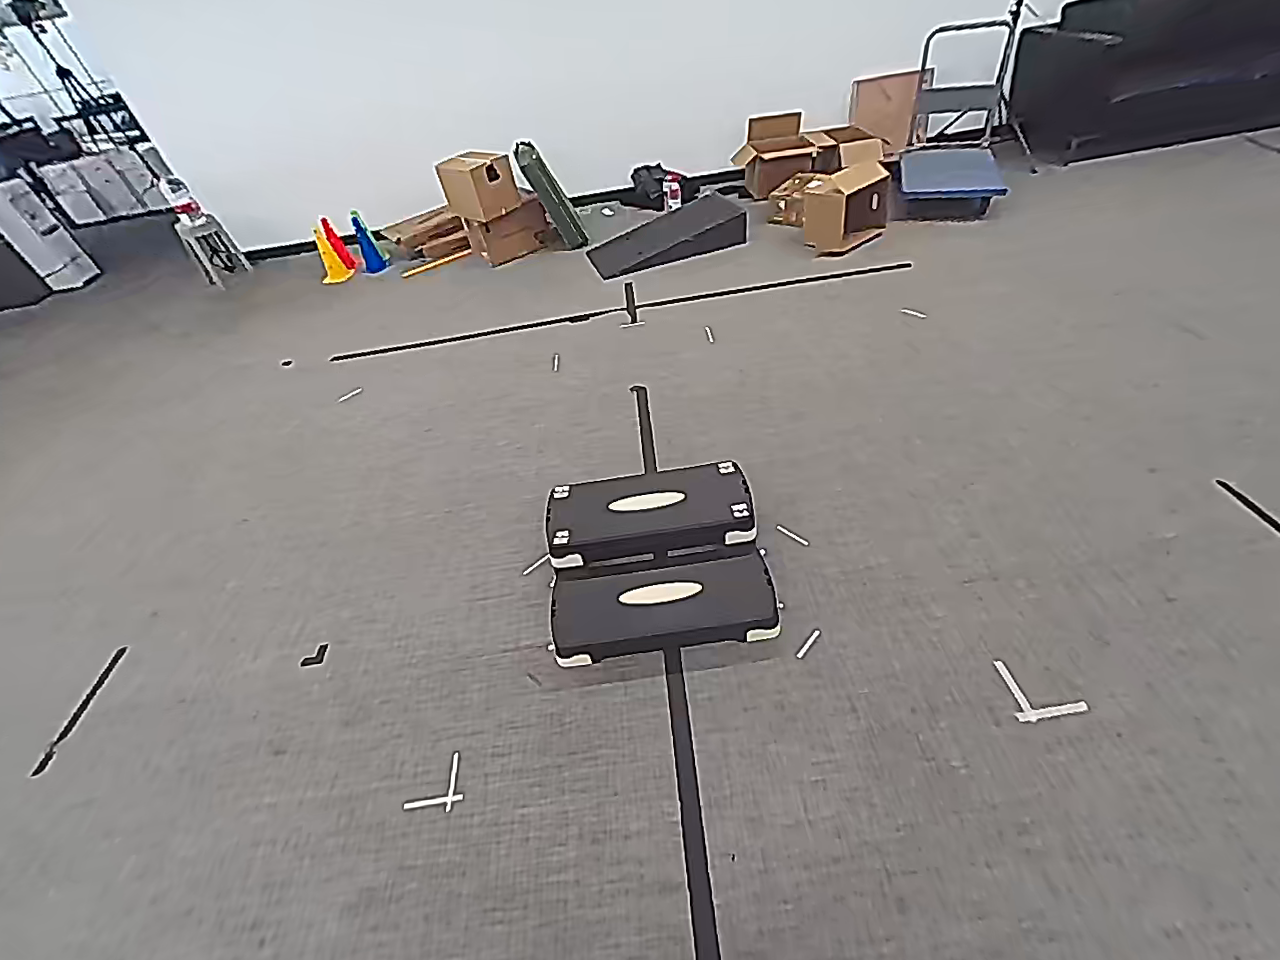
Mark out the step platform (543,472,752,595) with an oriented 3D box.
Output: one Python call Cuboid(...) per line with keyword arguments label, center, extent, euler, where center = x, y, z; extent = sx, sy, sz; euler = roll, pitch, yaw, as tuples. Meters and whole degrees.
Cuboid(label="step platform", center=(0.021, 0.171, 1.797), extent=(0.684, 0.204, 0.286), euler=(-9, 44, 0))
